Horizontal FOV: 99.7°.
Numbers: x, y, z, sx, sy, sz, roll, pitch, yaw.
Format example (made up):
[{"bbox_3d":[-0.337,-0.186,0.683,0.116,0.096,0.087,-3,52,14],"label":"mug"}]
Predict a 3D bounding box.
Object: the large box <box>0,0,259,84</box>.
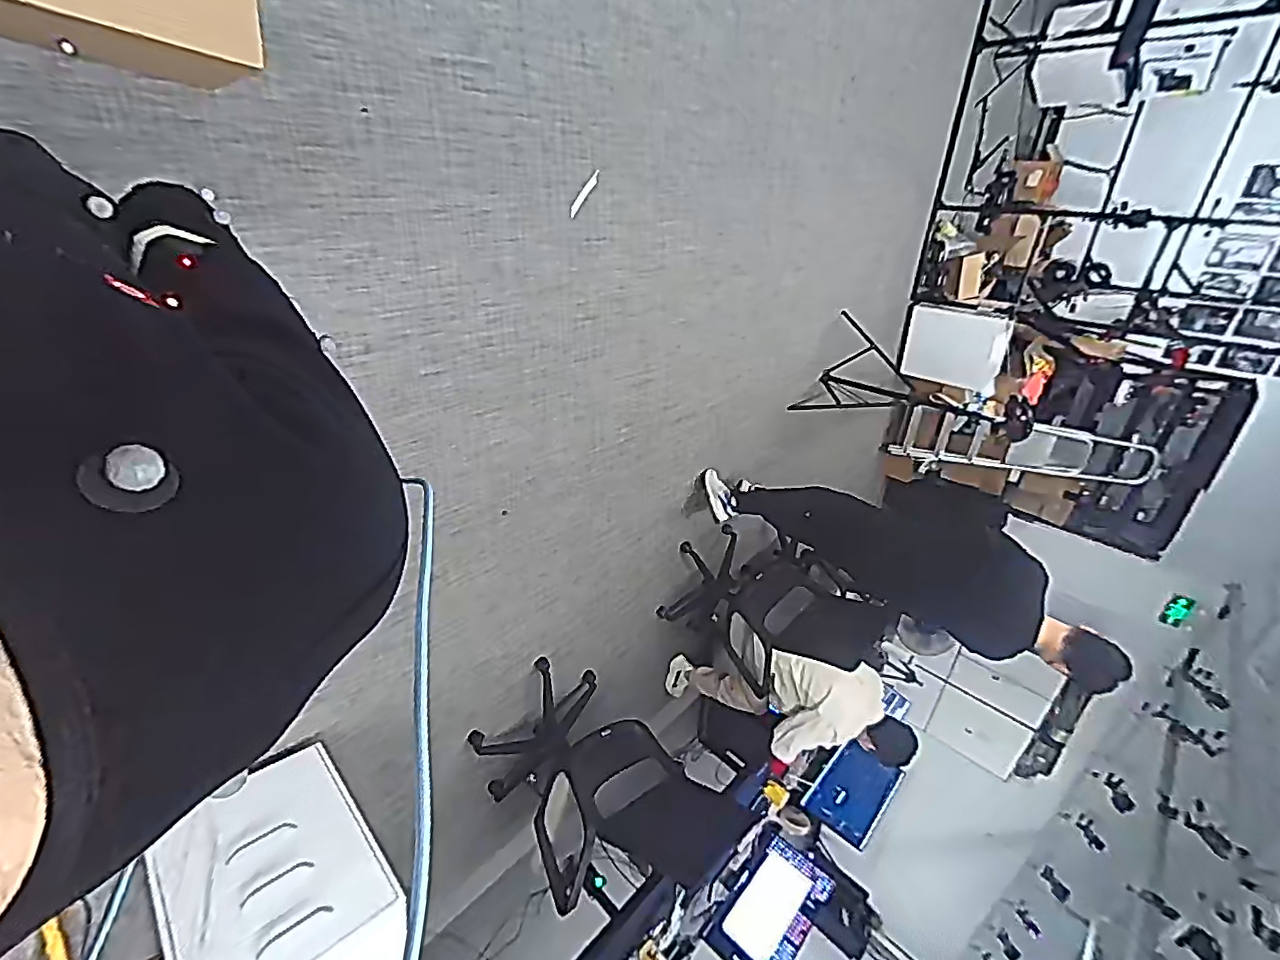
[{"bbox_3d":[-0.793,-0.761,0.694,0.408,0.320,0.320,-18,123,-45],"label":"large box"}]
